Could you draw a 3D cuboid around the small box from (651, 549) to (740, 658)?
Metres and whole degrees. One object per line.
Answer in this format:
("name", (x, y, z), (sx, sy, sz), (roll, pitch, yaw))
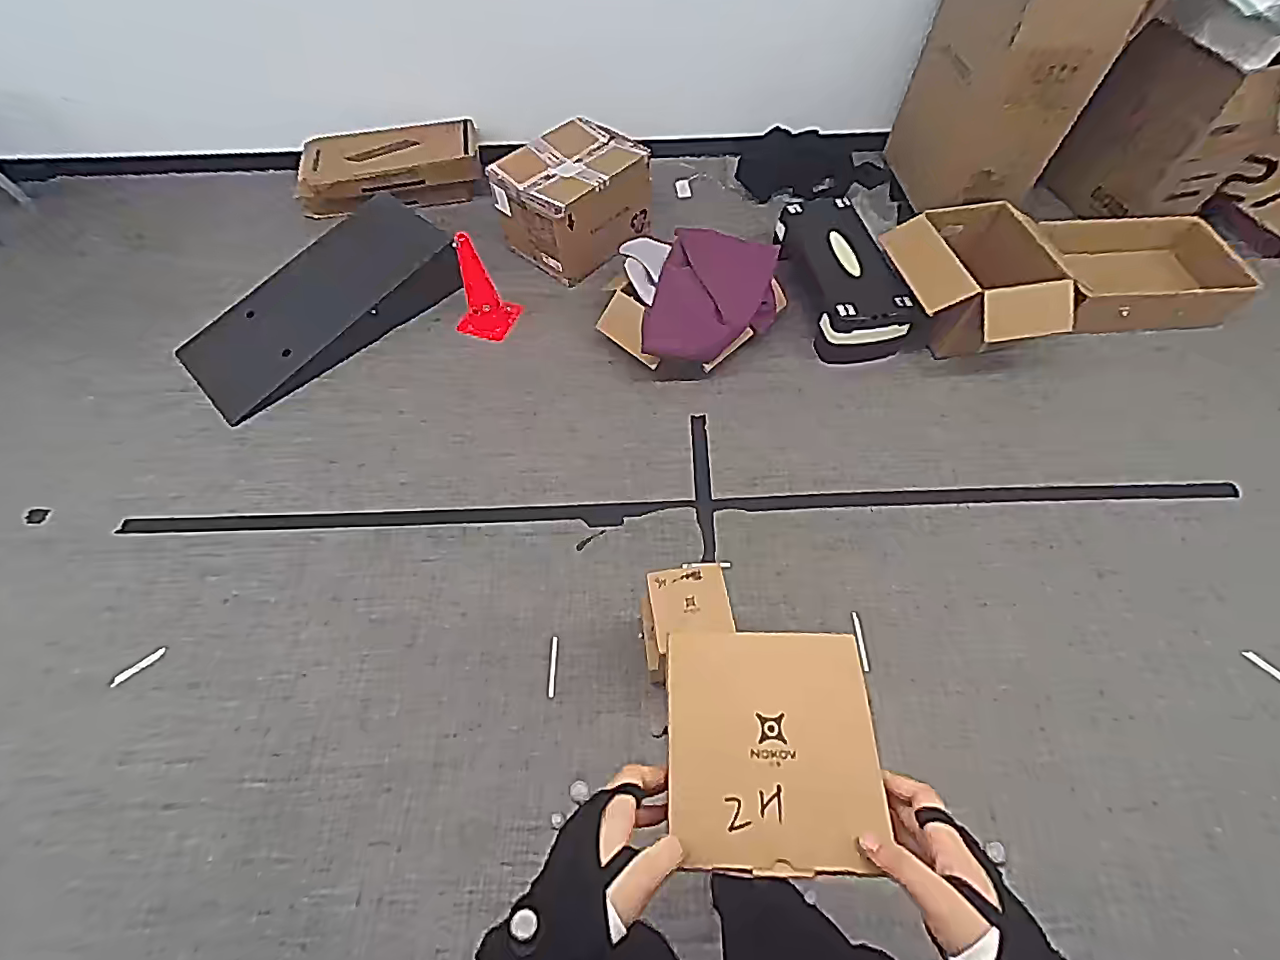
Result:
("small box", (0.117, 0.263, 1.124), (0.168, 0.176, 0.179), (-8, 60, -3))

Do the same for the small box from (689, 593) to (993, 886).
("small box", (0.126, 0.201, 0.424), (0.168, 0.176, 0.179), (0, 58, 2))

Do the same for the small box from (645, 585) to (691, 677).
("small box", (0.102, 0.347, 1.265), (0.168, 0.176, 0.179), (-7, 61, -2))
